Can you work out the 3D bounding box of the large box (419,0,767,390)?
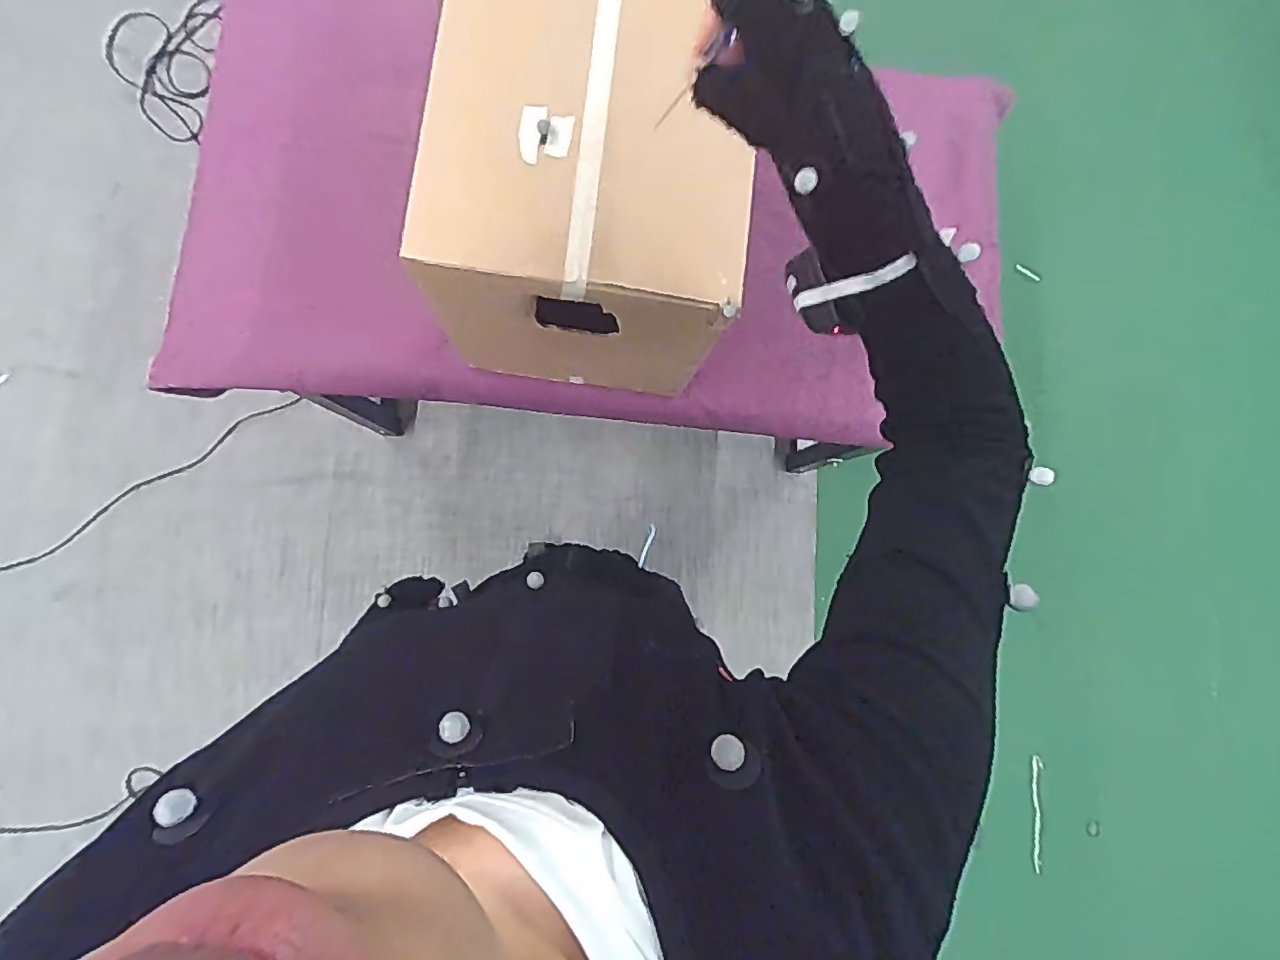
[{"bbox_3d":[-0.052,-0.363,0.679,0.320,0.320,0.408,7,84,-5],"label":"large box"}]
